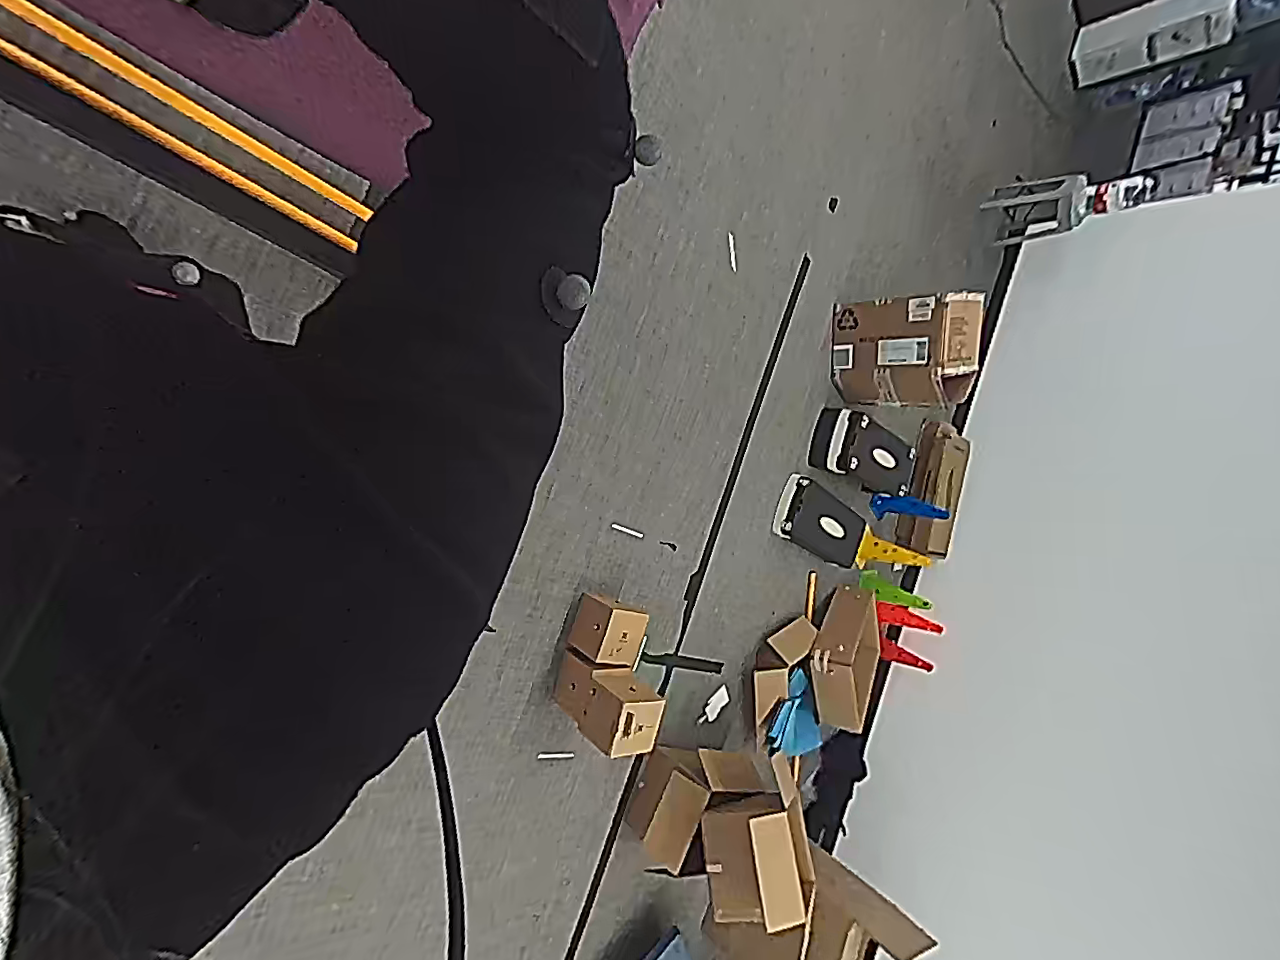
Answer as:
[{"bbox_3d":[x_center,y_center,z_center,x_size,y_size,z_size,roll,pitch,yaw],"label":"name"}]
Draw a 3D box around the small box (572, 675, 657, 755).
[{"bbox_3d":[-0.082,0.709,1.650,0.179,0.176,0.168,17,88,-43],"label":"small box"}]
